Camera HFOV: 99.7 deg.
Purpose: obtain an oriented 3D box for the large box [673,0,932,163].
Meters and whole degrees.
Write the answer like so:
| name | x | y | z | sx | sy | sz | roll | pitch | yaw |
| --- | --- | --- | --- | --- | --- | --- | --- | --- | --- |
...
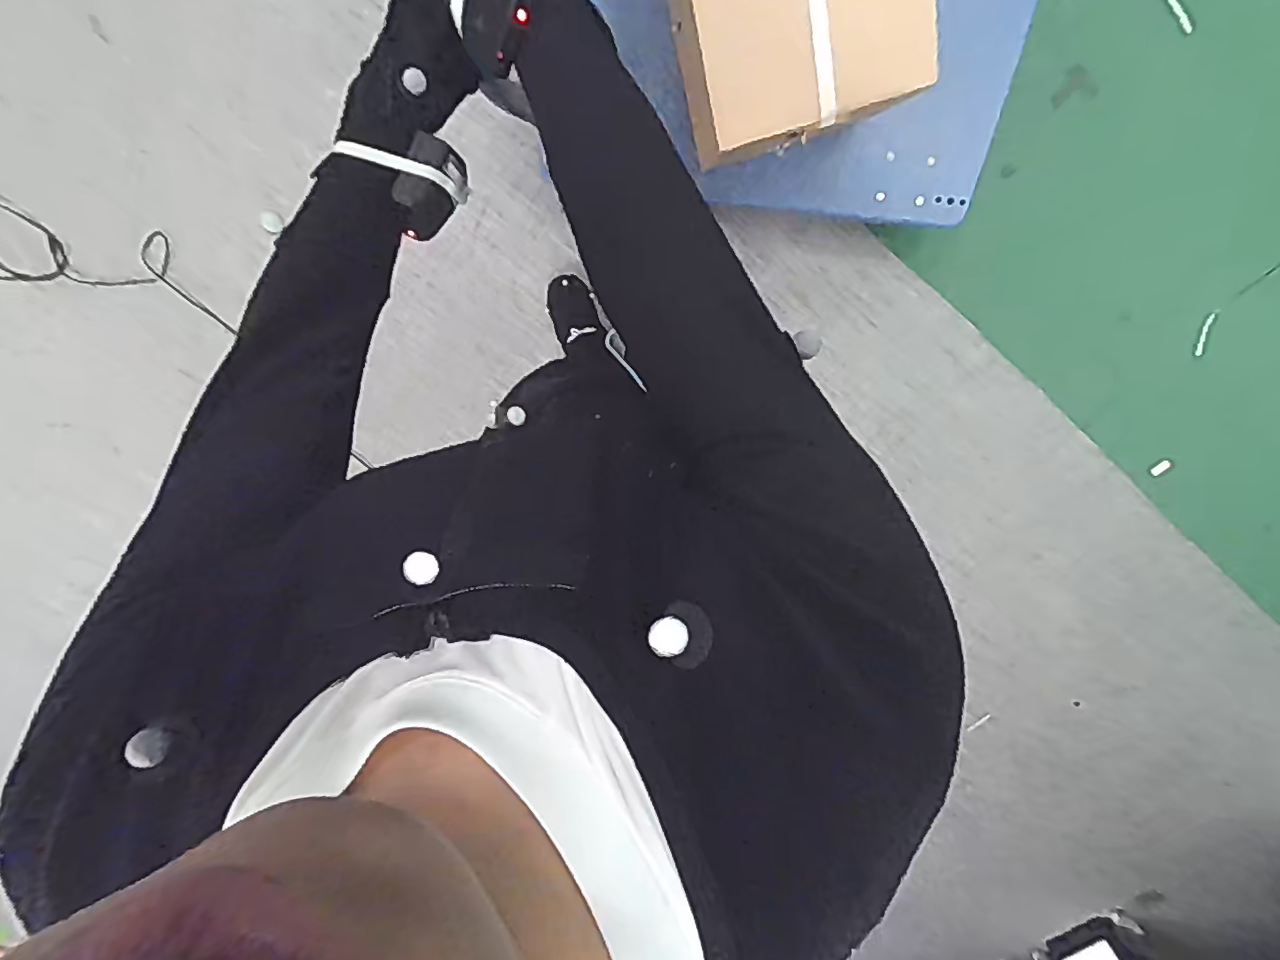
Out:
| name | x | y | z | sx | sy | sz | roll | pitch | yaw |
| --- | --- | --- | --- | --- | --- | --- | --- | --- | --- |
| large box | 0.213 | -0.762 | 0.824 | 0.320 | 0.320 | 0.408 | -12 | 114 | 7 |
